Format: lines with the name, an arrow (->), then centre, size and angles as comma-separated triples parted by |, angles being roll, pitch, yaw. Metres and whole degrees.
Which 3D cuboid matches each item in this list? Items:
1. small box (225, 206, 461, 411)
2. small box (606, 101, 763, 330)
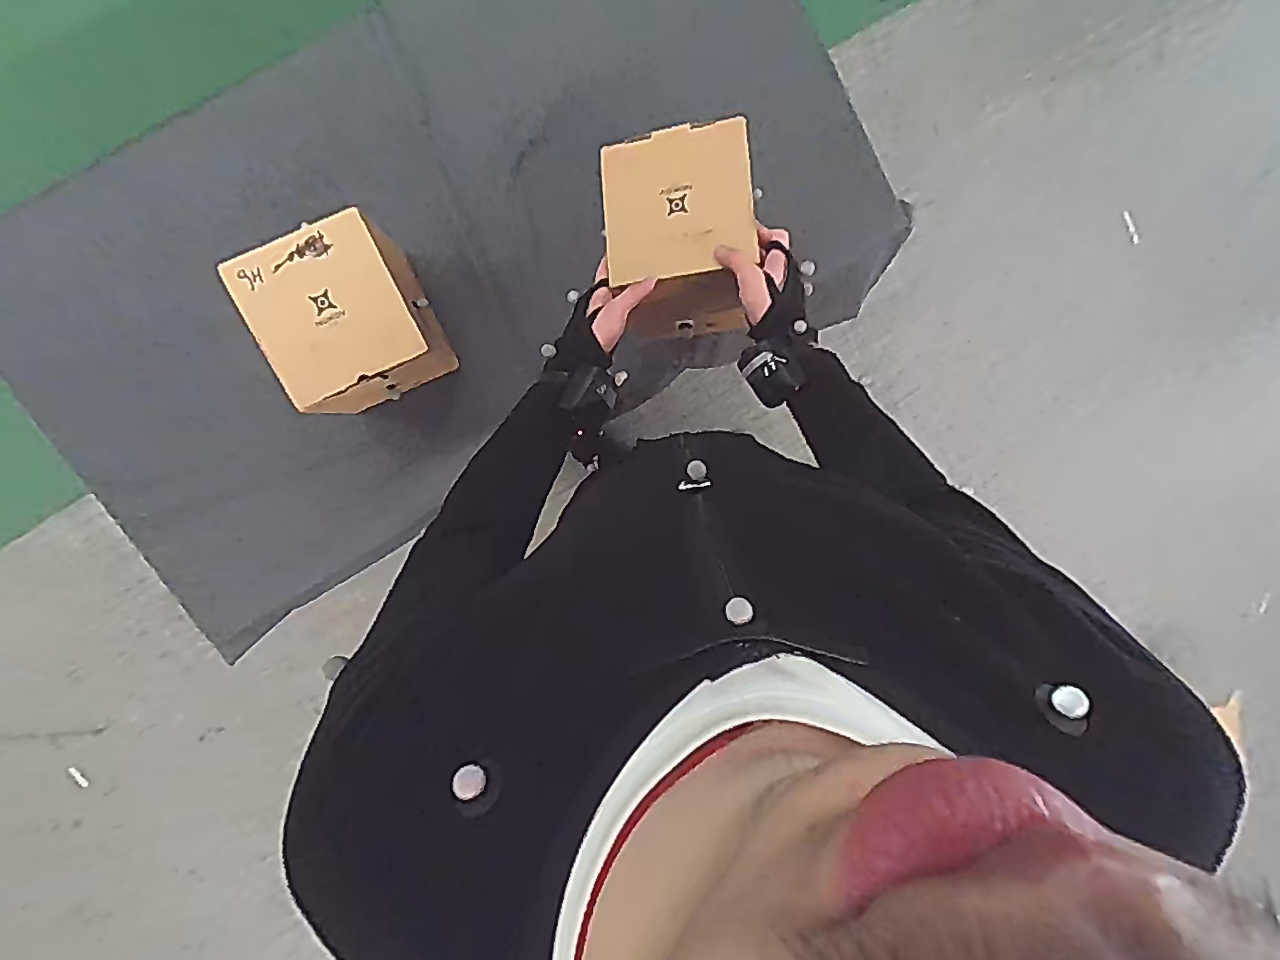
small box -> -0.353, -0.202, 0.685 | 0.168, 0.176, 0.179 | -28, 98, -1
small box -> 0.059, -0.300, 0.650 | 0.168, 0.176, 0.179 | -3, 83, 12
